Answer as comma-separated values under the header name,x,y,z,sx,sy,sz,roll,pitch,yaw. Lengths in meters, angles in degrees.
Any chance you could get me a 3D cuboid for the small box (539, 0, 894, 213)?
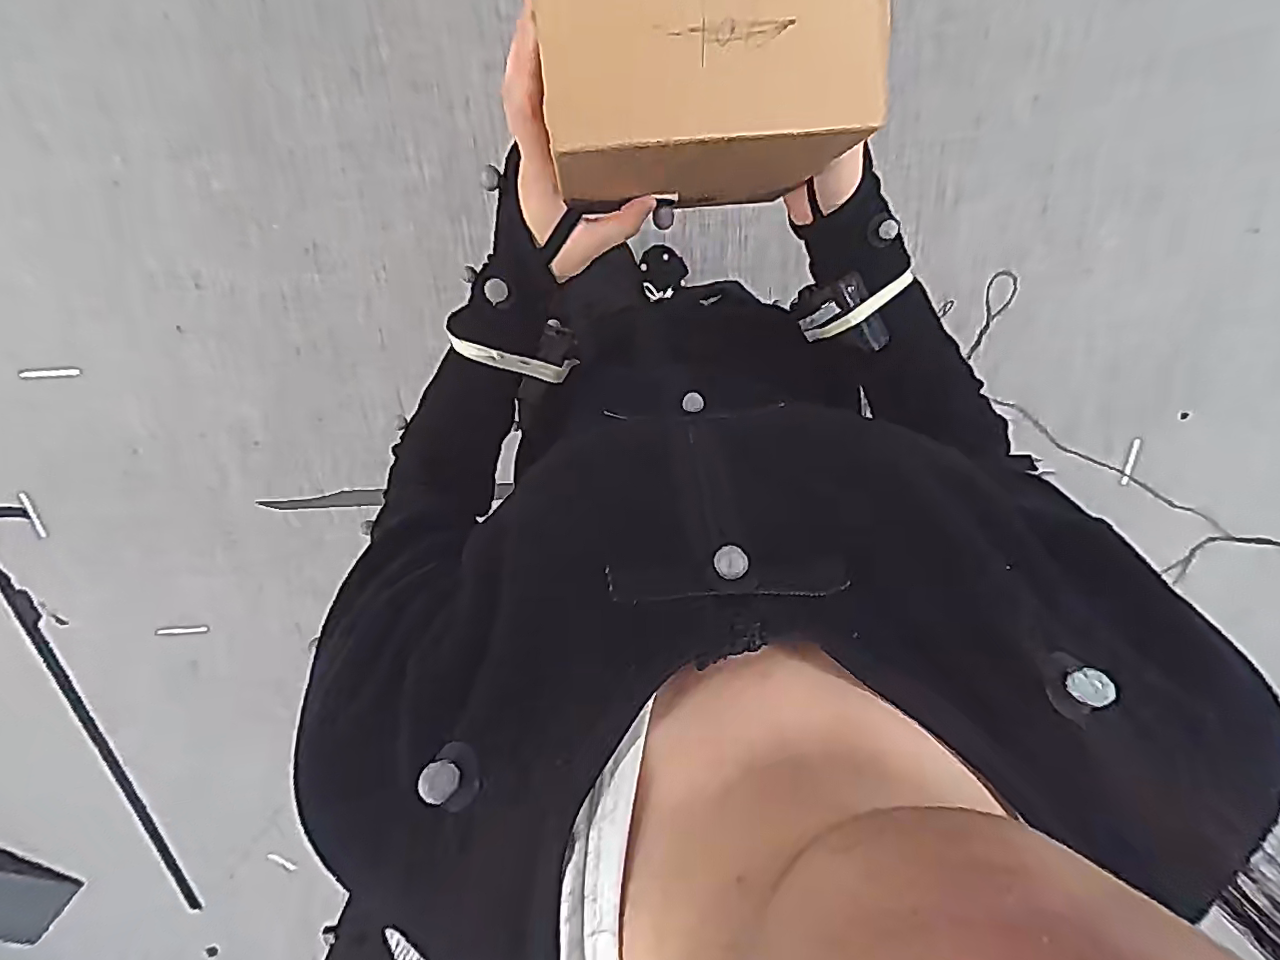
name,x,y,z,sx,sy,sz,roll,pitch,yaw
small box,0.026,-0.271,0.313,0.168,0.176,0.179,-6,106,-4
